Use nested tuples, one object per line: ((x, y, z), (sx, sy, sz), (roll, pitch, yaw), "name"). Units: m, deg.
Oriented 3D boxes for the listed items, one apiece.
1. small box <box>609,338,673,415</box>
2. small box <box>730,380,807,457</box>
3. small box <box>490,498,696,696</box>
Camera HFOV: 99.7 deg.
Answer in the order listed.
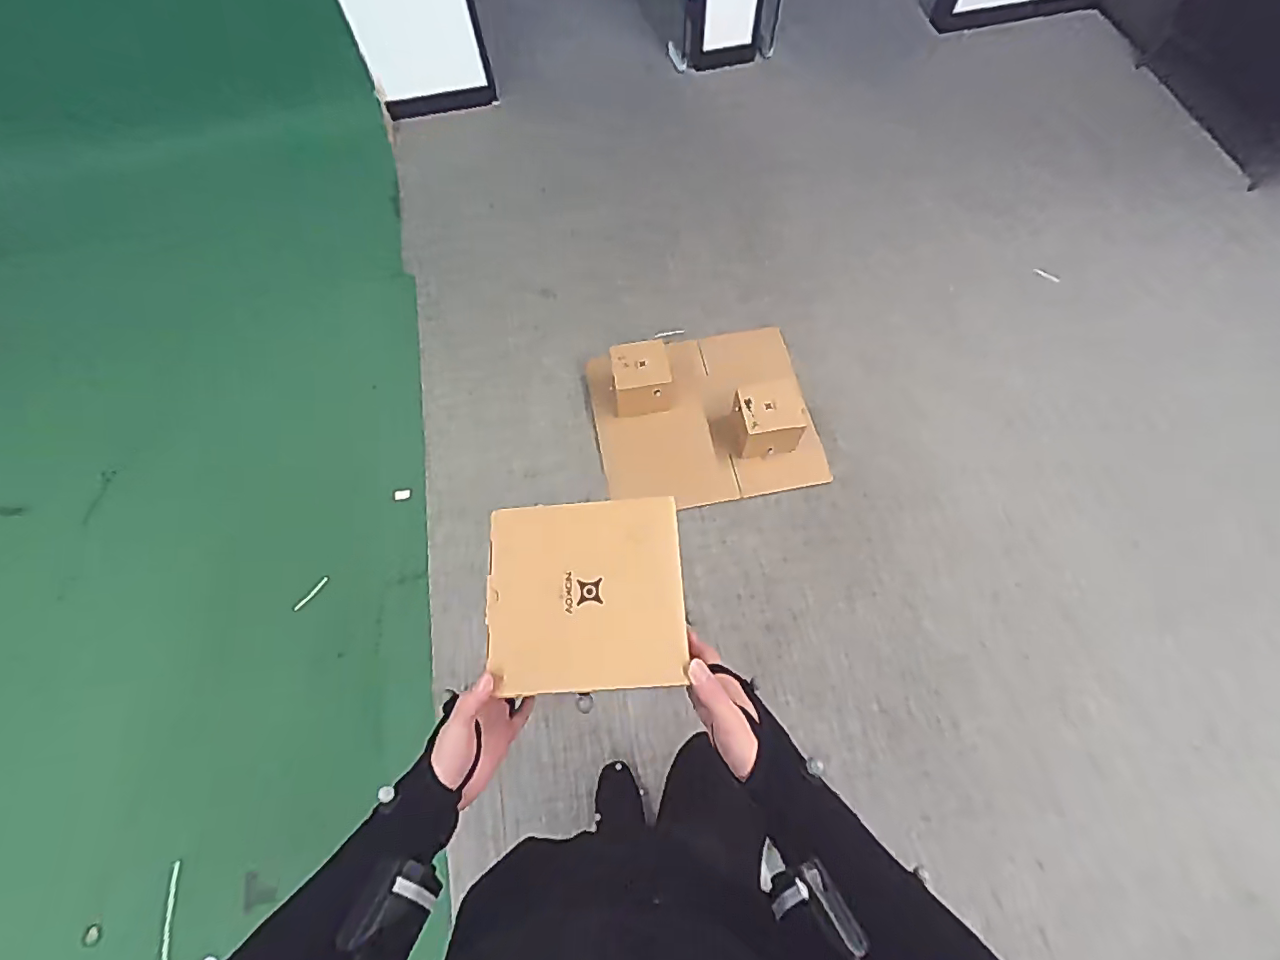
((0.002, -0.324, 1.722), (0.179, 0.176, 0.168), (-9, 67, -2), "small box")
((0.387, -0.186, 1.658), (0.179, 0.176, 0.168), (-8, 67, -2), "small box")
((-0.038, 0.124, 0.552), (0.179, 0.176, 0.168), (-5, 70, 4), "small box")
